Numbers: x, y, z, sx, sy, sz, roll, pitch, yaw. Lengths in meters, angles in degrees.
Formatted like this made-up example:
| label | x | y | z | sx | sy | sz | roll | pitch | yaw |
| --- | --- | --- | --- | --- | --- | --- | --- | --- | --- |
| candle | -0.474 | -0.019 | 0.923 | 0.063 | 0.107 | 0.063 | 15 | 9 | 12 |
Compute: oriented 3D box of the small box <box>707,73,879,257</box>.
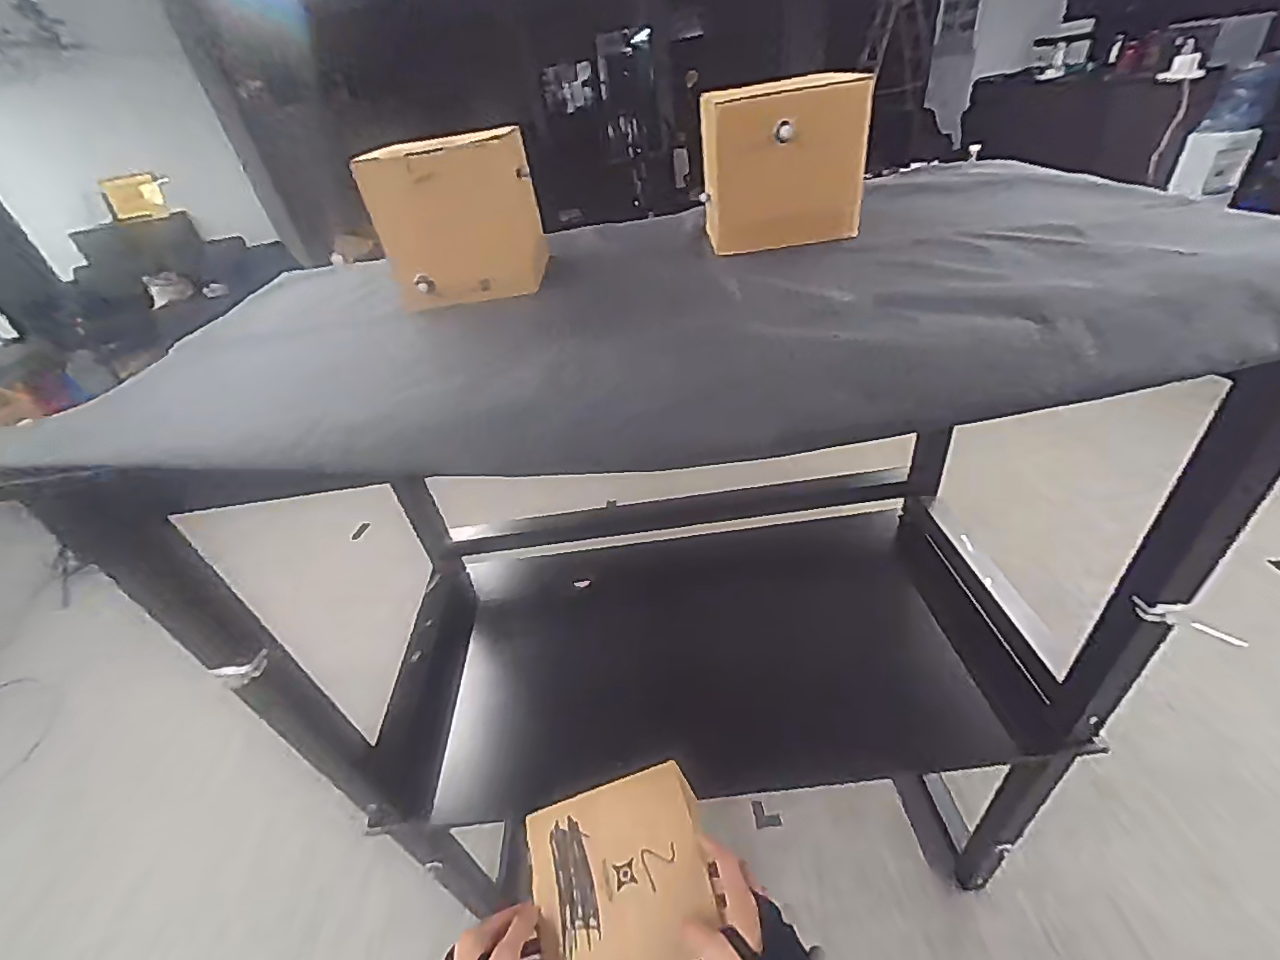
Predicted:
| label | x | y | z | sx | sy | sz | roll | pitch | yaw |
| --- | --- | --- | --- | --- | --- | --- | --- | --- | --- |
| small box | 0.183 | -0.404 | 0.695 | 0.179 | 0.176 | 0.168 | -7 | 37 | 6 |

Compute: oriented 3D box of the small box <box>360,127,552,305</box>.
| label | x | y | z | sx | sy | sz | roll | pitch | yaw |
| --- | --- | --- | --- | --- | --- | --- | --- | --- | --- |
| small box | -0.215 | -0.334 | 0.693 | 0.168 | 0.176 | 0.179 | -8 | 36 | 3 |
